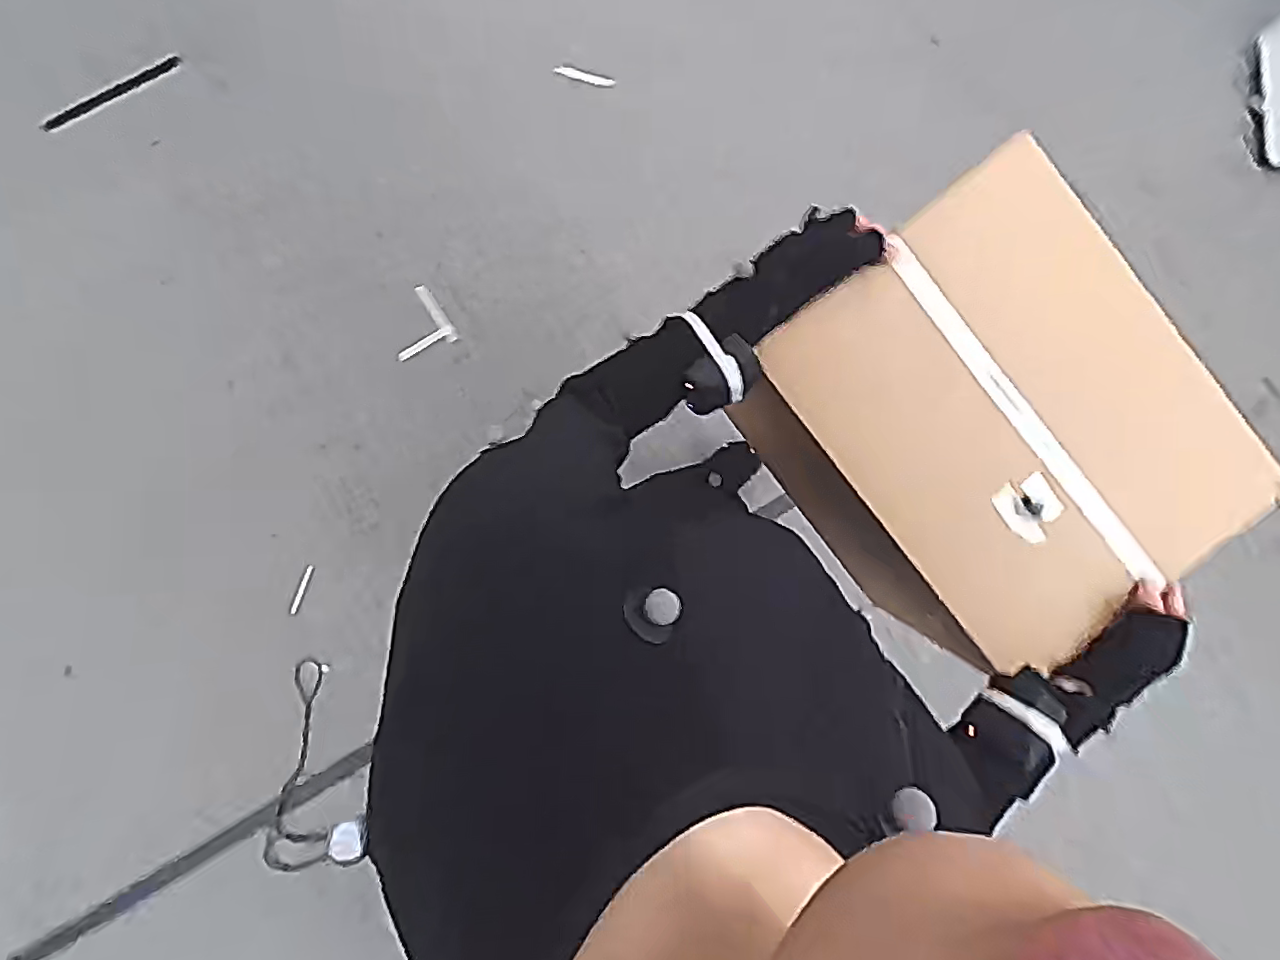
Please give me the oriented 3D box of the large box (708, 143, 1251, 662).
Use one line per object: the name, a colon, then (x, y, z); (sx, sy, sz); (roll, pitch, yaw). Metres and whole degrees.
large box: (0.339, -0.076, 0.657); (0.320, 0.320, 0.408); (-39, 93, 2)
